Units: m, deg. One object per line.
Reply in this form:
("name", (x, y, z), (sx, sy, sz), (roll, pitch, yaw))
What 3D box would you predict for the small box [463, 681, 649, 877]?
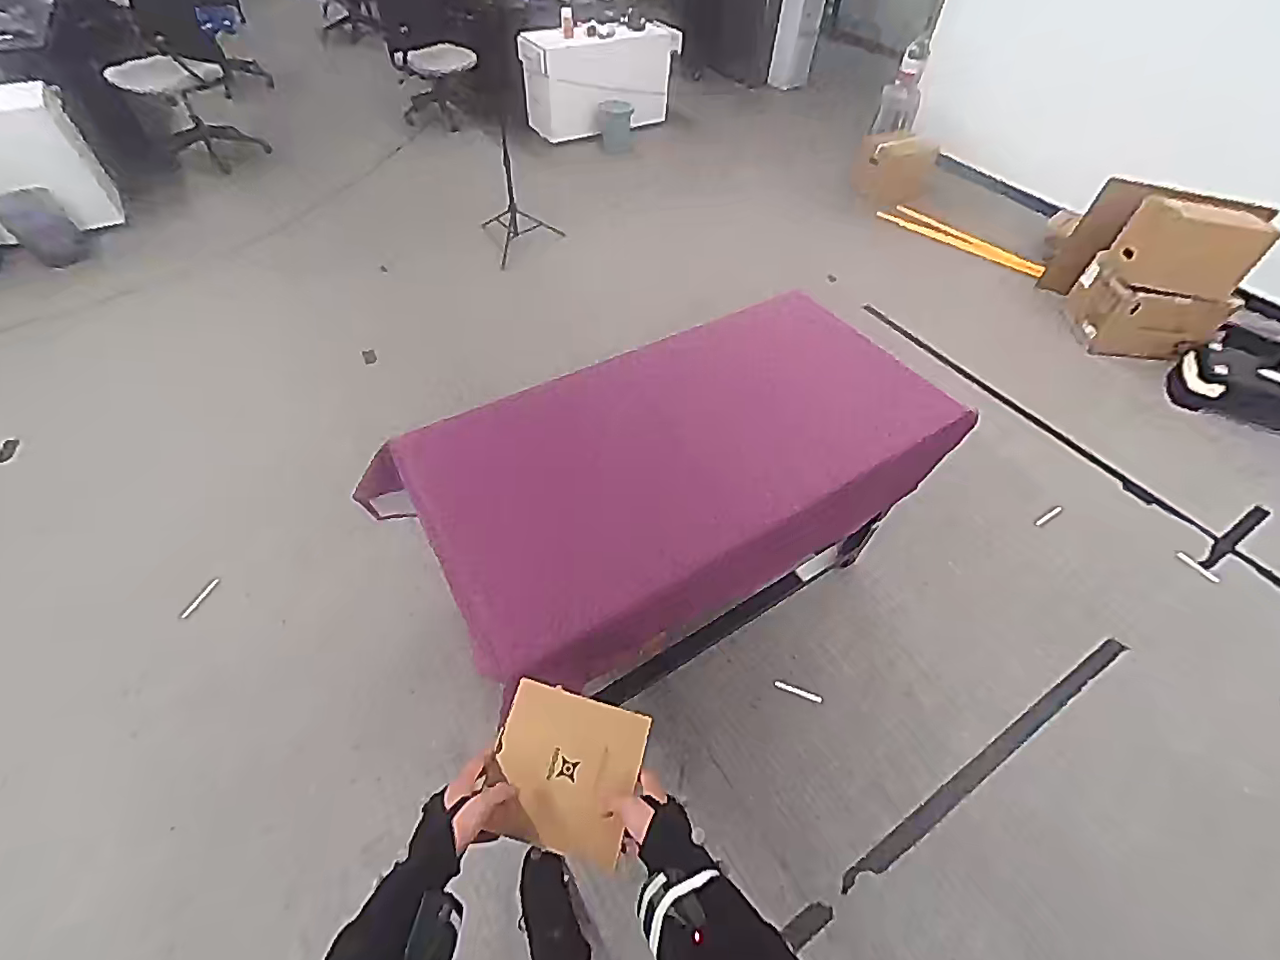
("small box", (-0.100, 0.383, 0.702), (0.179, 0.176, 0.168), (17, 60, 4))
